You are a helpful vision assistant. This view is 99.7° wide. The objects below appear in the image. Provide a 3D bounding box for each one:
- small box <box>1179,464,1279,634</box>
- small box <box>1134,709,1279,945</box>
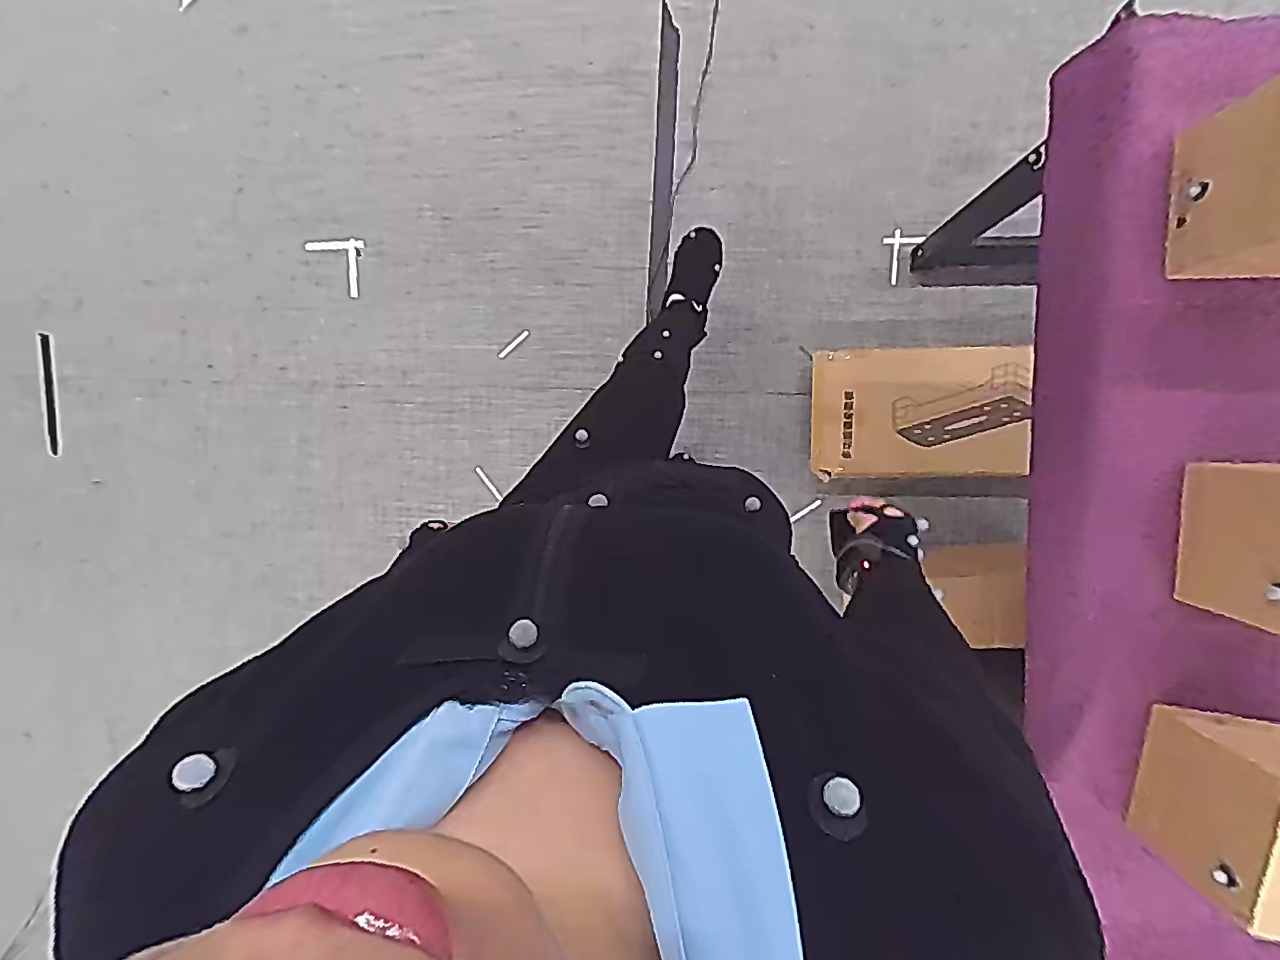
[{"bbox_3d":[0.753,0.076,0.591,0.168,0.176,0.179,0,95,3],"label":"small box"},{"bbox_3d":[0.729,0.392,0.621,0.168,0.176,0.179,8,96,5],"label":"small box"}]
